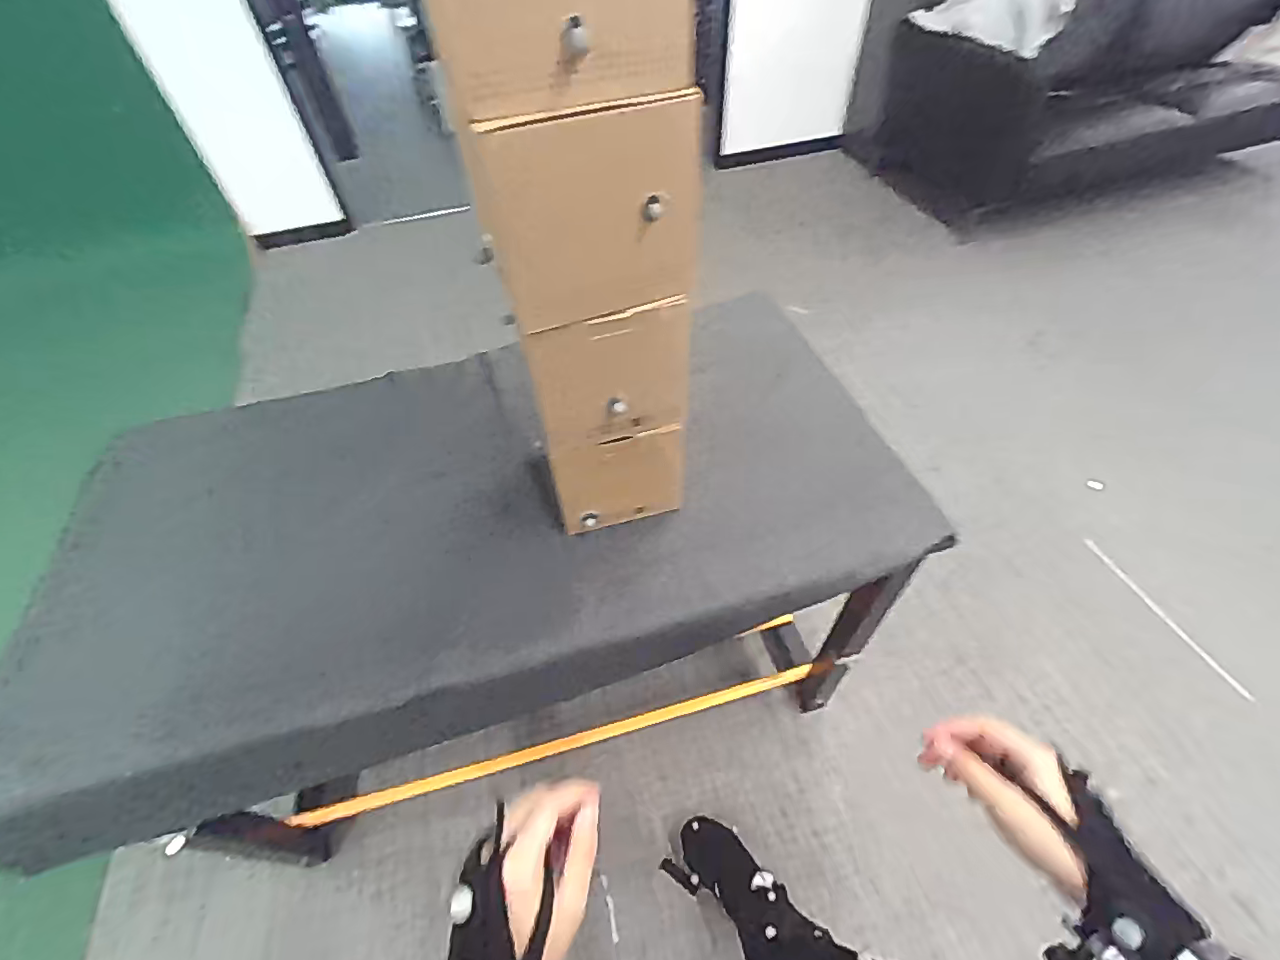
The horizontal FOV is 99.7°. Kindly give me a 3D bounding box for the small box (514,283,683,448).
[{"bbox_3d":[-0.058,-0.166,0.630,0.168,0.176,0.179,-16,51,-9],"label":"small box"}]

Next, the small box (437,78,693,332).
[{"bbox_3d":[-0.065,-0.266,0.503,0.179,0.176,0.168,-20,50,-12],"label":"small box"}]

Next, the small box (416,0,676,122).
[{"bbox_3d":[-0.078,-0.384,0.388,0.179,0.176,0.168,-17,50,-11],"label":"small box"}]

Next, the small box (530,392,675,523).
[{"bbox_3d":[-0.052,-0.058,0.754,0.168,0.176,0.179,-13,50,-8],"label":"small box"}]
